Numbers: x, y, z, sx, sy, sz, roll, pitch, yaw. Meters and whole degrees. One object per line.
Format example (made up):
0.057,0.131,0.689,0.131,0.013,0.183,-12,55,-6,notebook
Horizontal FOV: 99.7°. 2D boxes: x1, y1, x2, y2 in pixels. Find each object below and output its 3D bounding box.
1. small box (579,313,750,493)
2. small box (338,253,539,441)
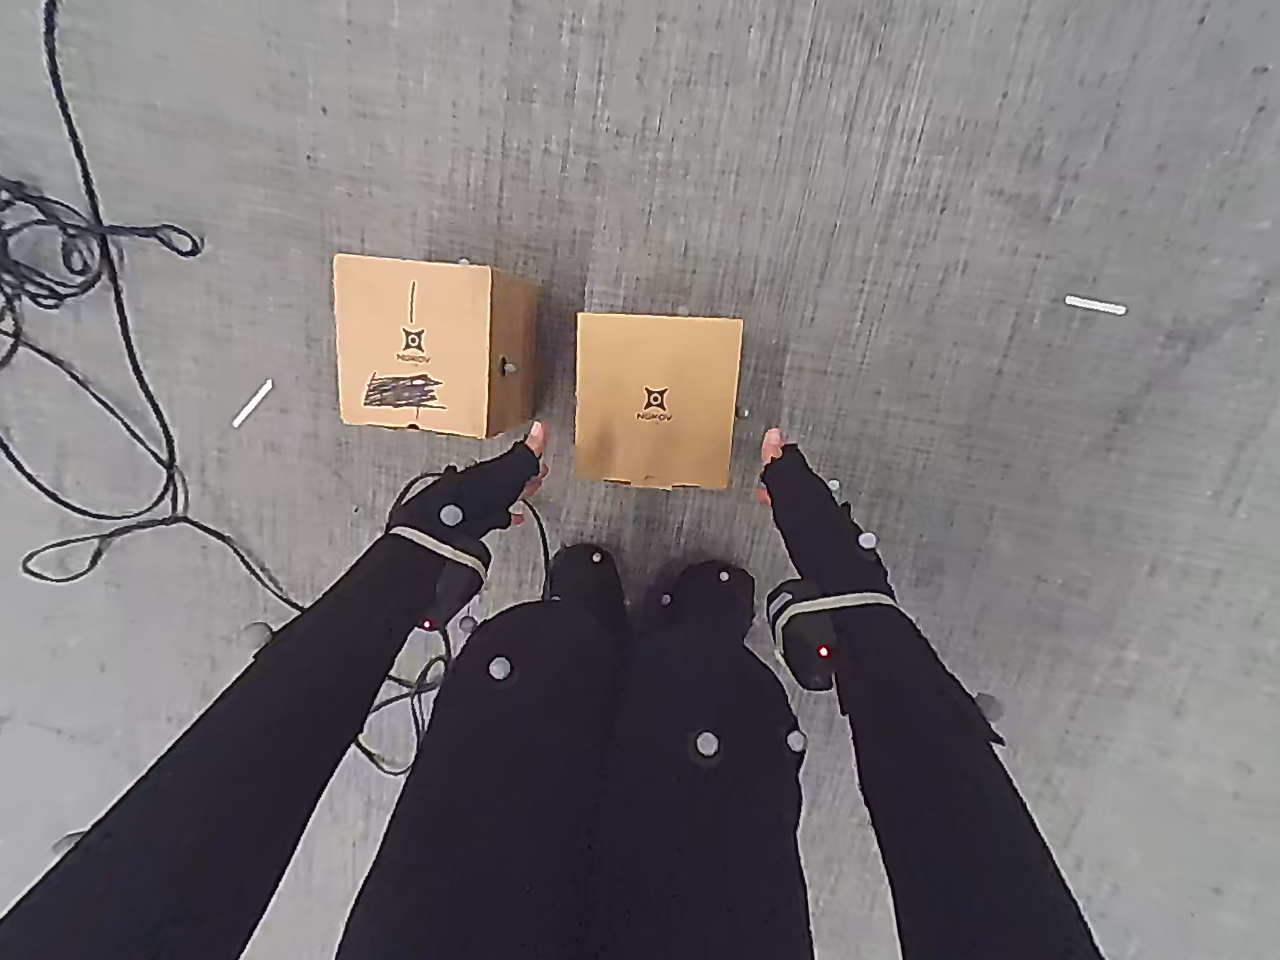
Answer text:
0.028,-0.095,0.624,0.168,0.176,0.179,4,106,5,small box
-0.221,-0.153,0.631,0.168,0.176,0.179,7,104,3,small box
